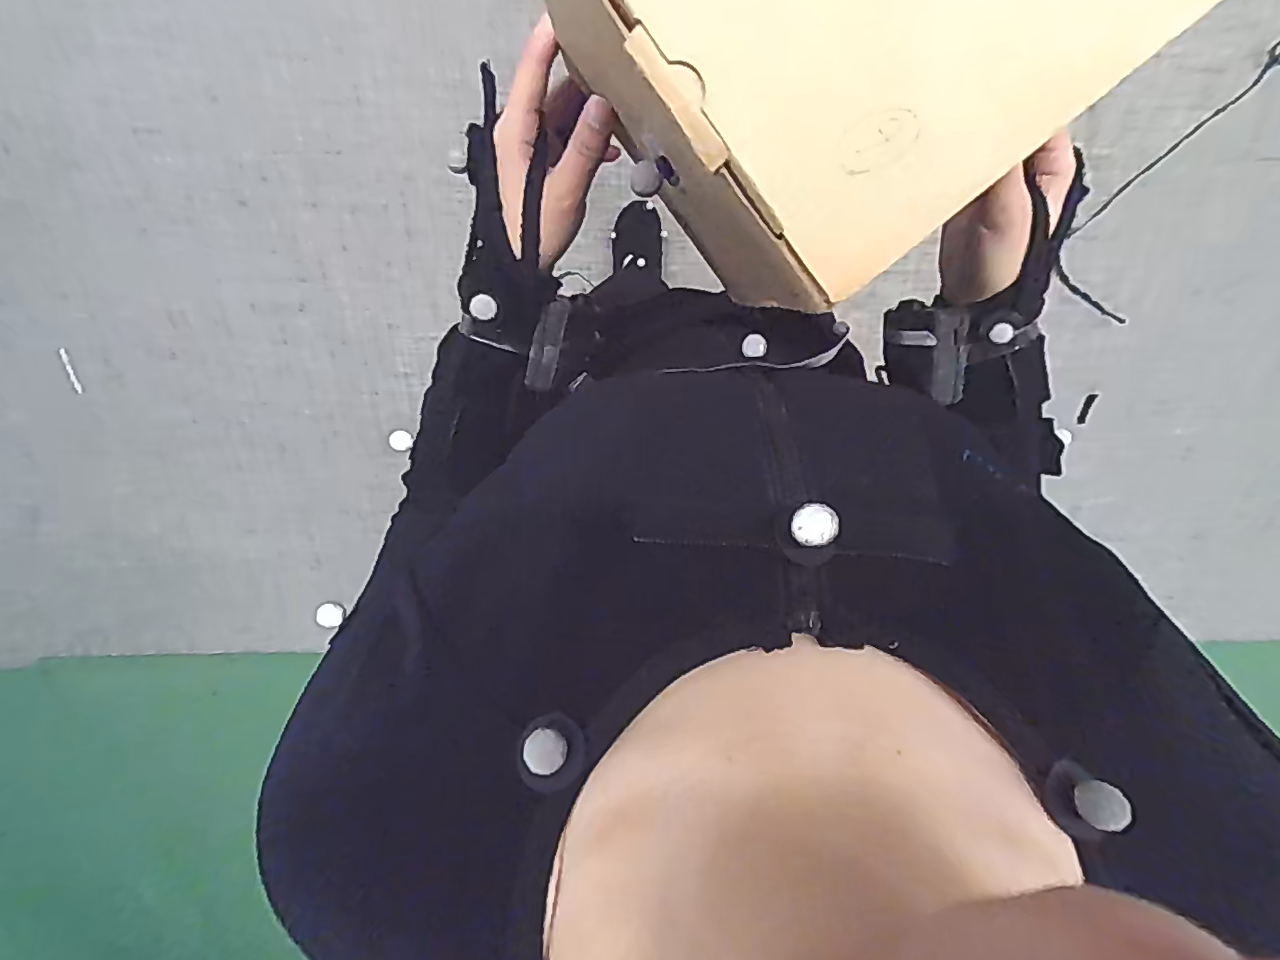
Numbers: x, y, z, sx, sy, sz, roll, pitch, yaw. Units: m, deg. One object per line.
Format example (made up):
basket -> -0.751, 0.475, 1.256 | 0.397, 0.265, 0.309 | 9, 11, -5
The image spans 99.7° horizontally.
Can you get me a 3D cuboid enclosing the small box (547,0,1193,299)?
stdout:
small box -> 0.073, -0.194, 0.223 | 0.179, 0.176, 0.168 | -38, 104, 12
